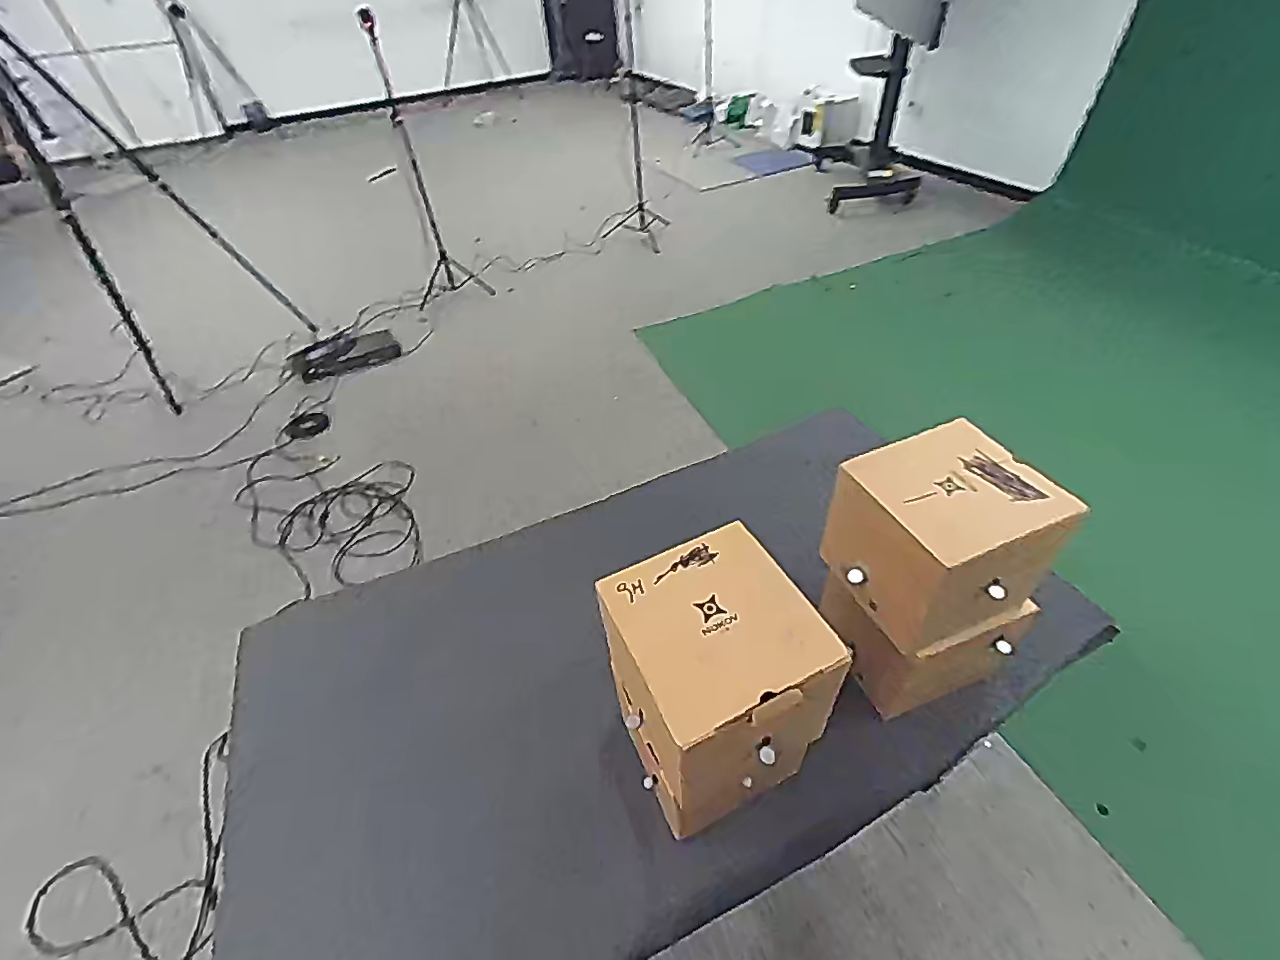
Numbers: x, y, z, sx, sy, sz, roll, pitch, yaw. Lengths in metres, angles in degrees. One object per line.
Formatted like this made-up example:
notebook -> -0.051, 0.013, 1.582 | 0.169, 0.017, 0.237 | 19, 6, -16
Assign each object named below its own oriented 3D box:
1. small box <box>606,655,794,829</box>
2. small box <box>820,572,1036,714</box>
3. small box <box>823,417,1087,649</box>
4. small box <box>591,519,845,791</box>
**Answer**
small box -> 0.076, 0.285, 0.656 | 0.179, 0.176, 0.168 | -20, 47, -16
small box -> 0.366, 0.180, 0.728 | 0.179, 0.176, 0.168 | -18, 45, -11
small box -> 0.336, 0.060, 0.619 | 0.179, 0.176, 0.168 | -19, 45, -11
small box -> 0.067, 0.176, 0.533 | 0.168, 0.176, 0.179 | -21, 47, -14
